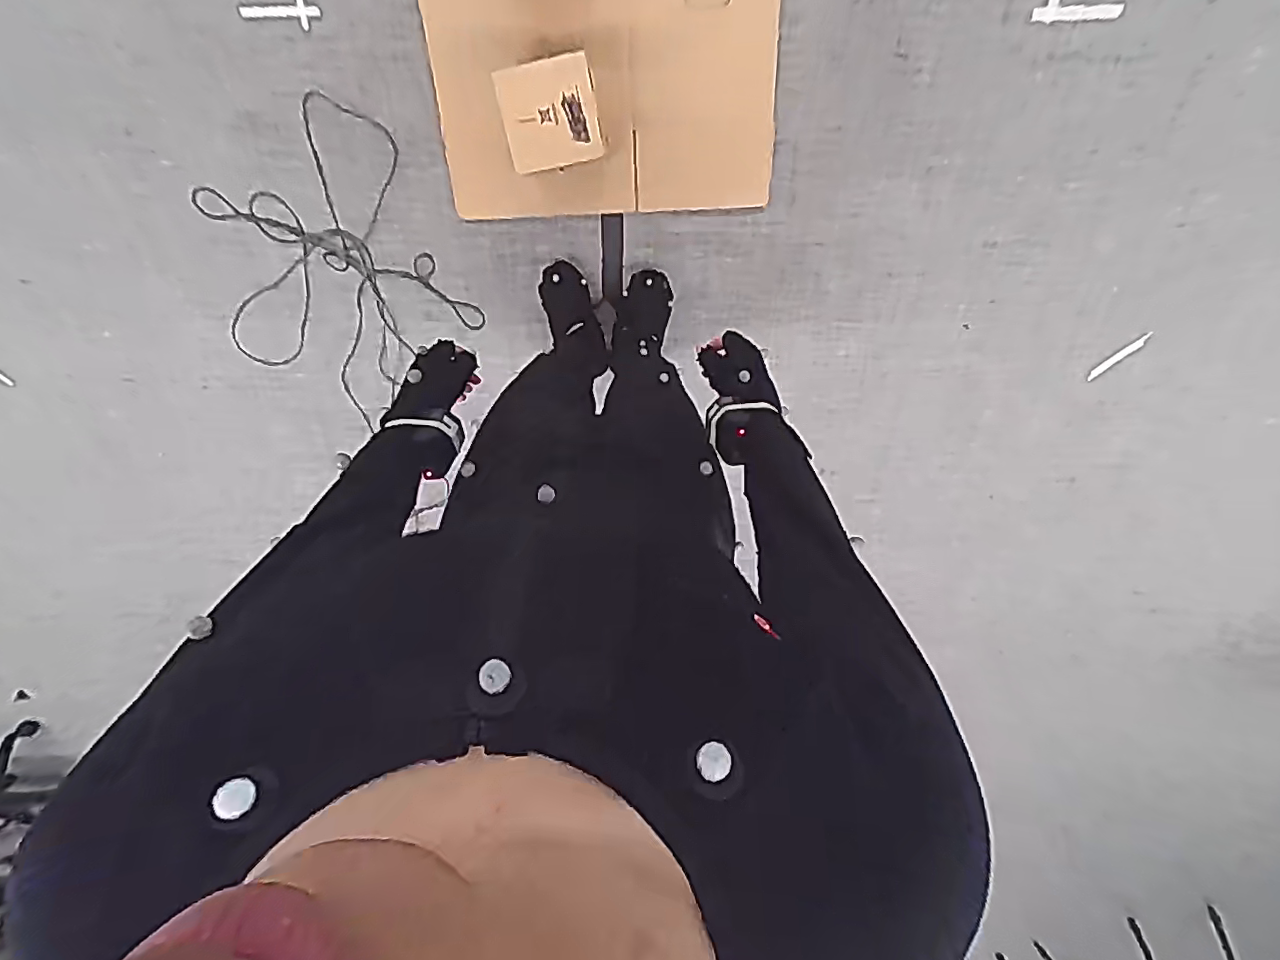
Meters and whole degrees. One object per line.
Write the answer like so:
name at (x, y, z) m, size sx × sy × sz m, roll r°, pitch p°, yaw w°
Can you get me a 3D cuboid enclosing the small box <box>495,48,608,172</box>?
small box at (-0.162, -0.715, 1.060) m, size 0.179 × 0.176 × 0.168 m, roll -9°, pitch 119°, yaw 5°
